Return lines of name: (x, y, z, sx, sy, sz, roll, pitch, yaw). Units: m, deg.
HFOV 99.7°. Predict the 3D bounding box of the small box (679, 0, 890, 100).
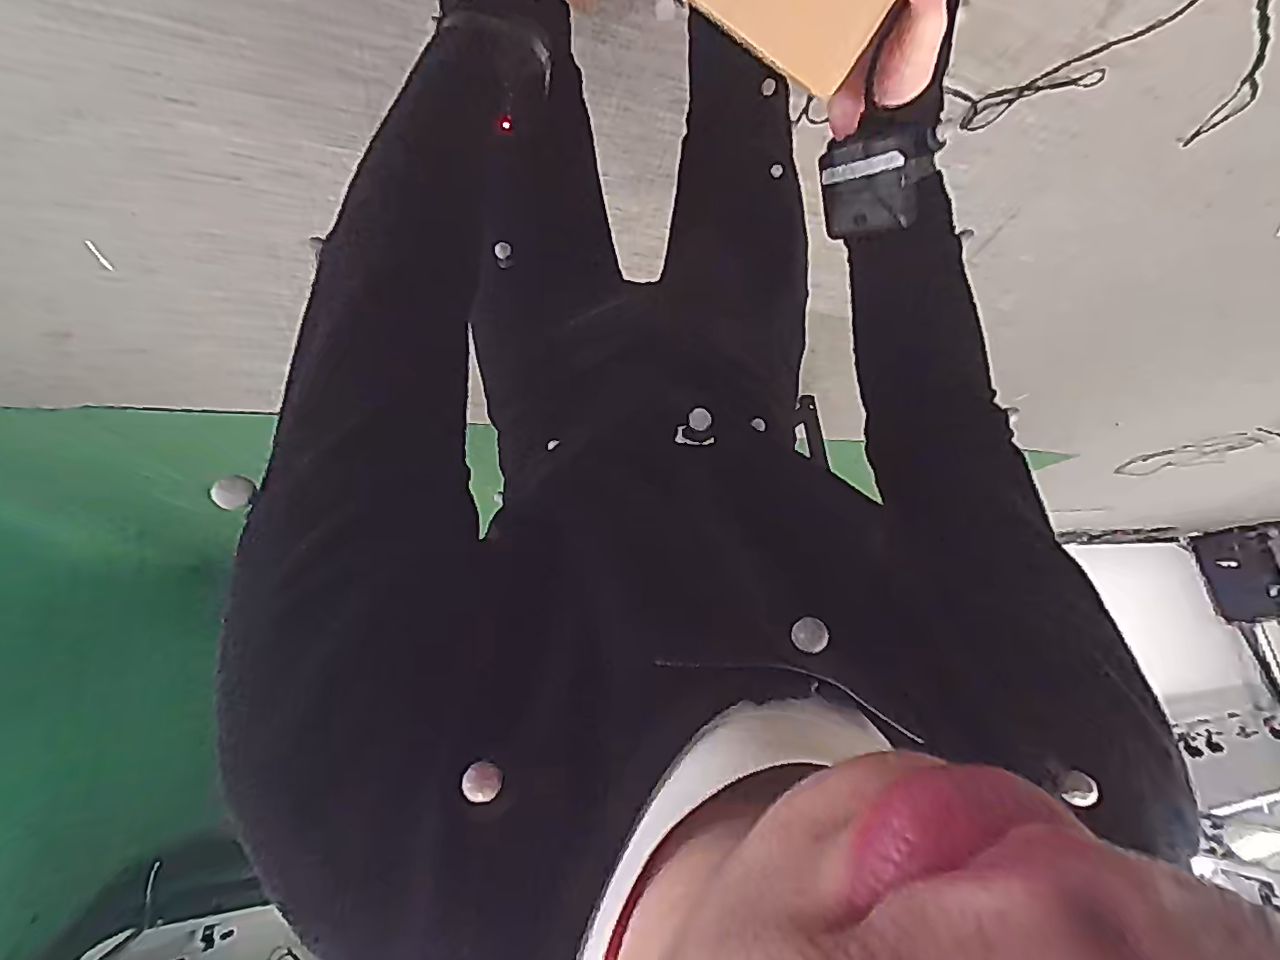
small box: (0.073, -0.348, 0.279, 0.168, 0.176, 0.179, 23, 129, -21)
